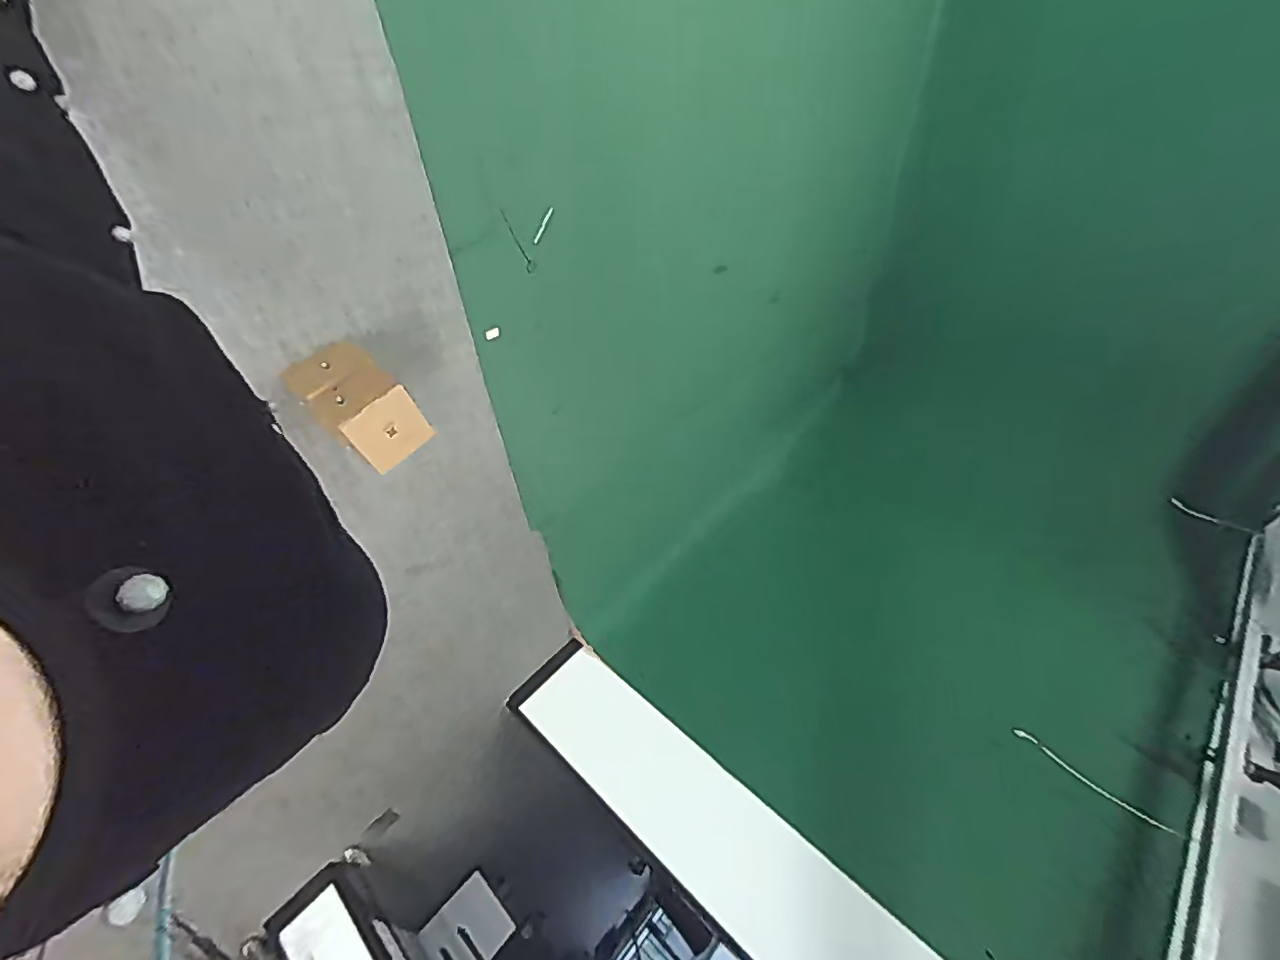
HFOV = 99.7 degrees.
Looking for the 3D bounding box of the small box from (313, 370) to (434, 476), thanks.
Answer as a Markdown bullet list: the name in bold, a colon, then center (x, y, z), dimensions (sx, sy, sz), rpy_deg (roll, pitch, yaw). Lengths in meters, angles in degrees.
- **small box**: center (-0.648, -0.148, 1.315), dimensions (0.168, 0.176, 0.179), rpy_deg (-44, 145, -22)
